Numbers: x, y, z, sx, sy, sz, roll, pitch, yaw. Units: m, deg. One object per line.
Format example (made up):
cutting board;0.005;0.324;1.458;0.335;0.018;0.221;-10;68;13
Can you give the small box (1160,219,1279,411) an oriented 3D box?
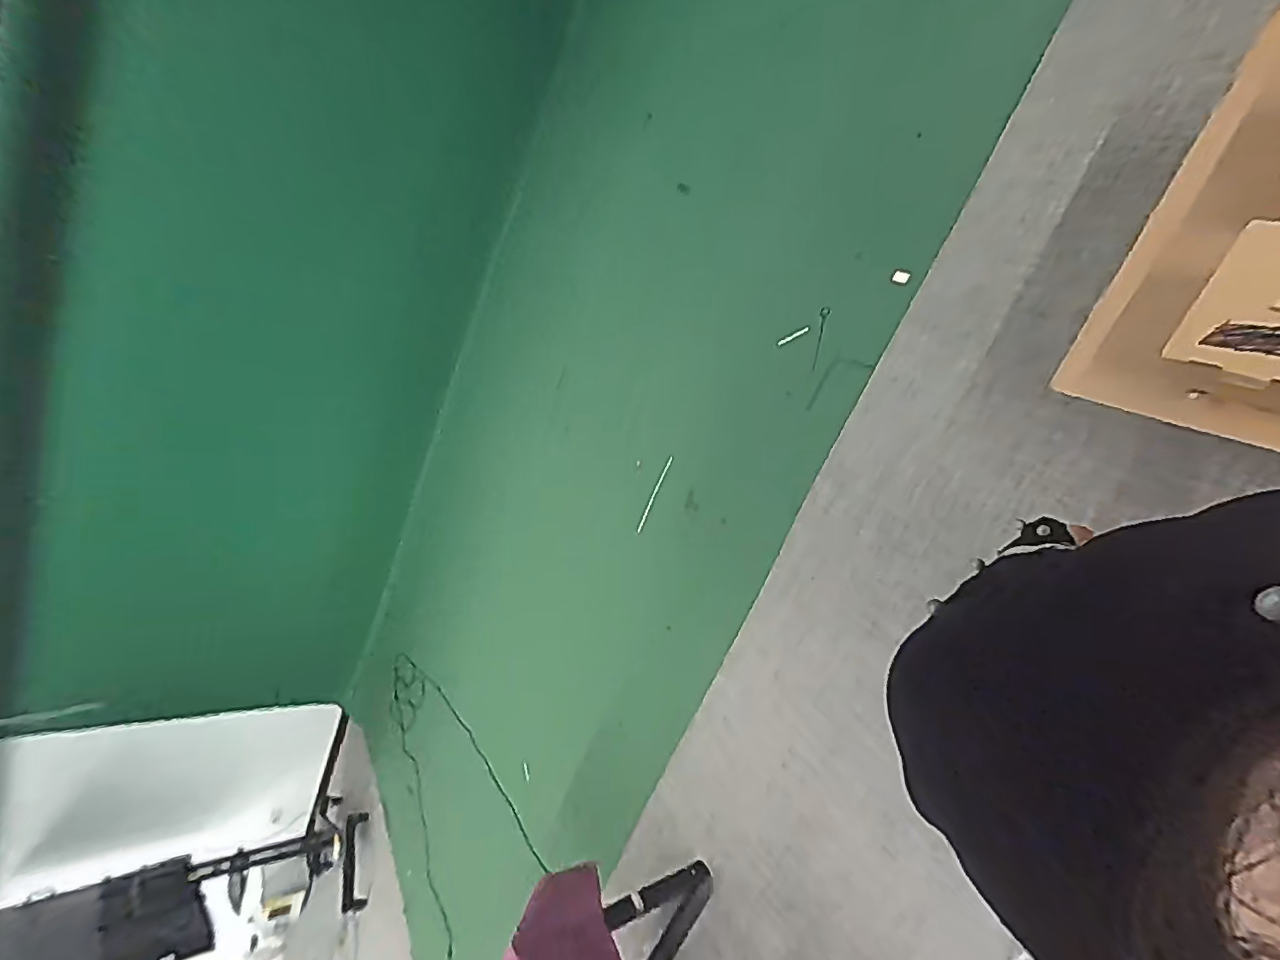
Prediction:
small box;0.806;-0.190;0.667;0.168;0.176;0.179;40;111;46
